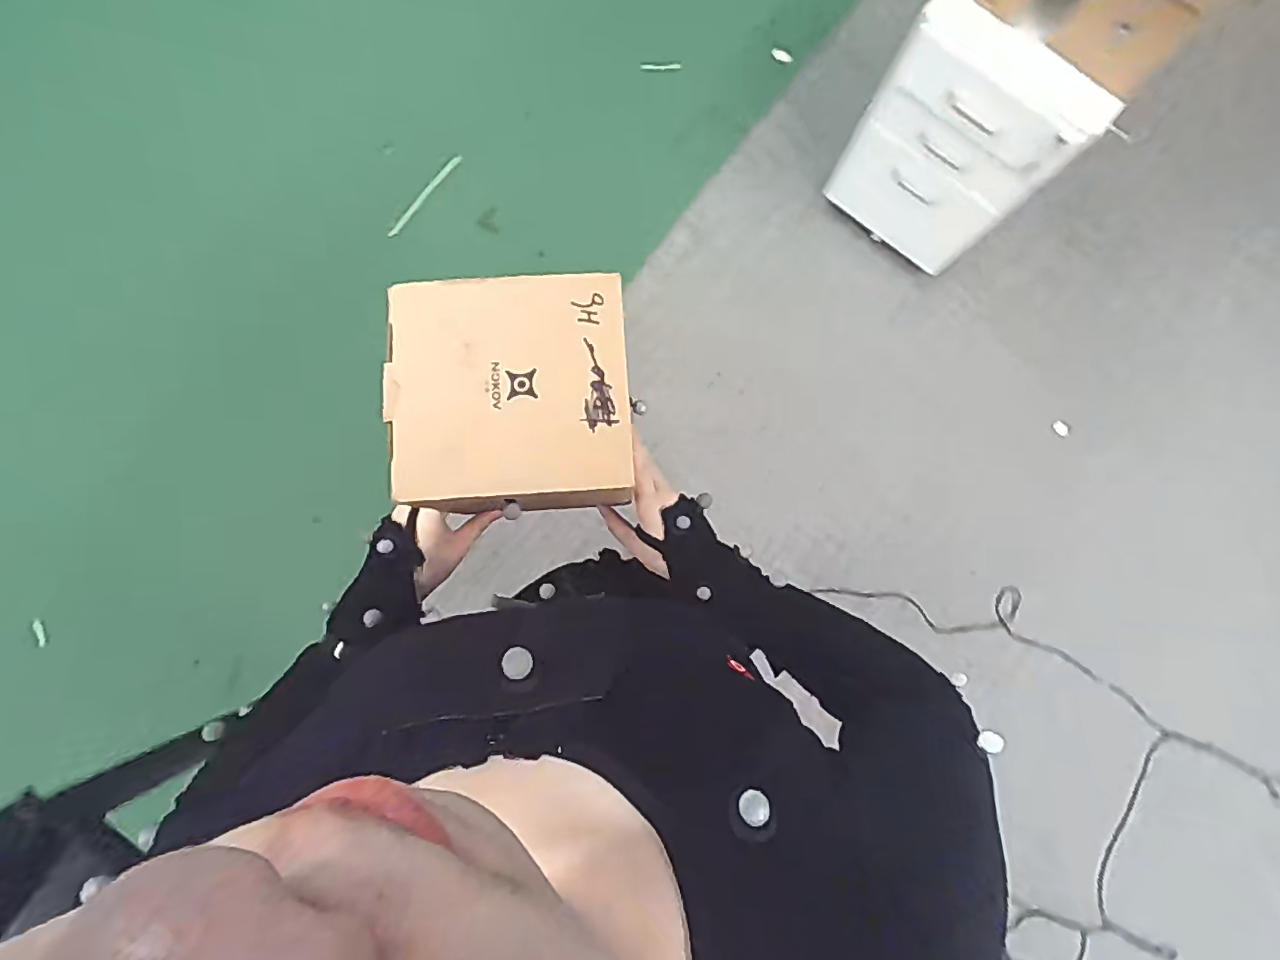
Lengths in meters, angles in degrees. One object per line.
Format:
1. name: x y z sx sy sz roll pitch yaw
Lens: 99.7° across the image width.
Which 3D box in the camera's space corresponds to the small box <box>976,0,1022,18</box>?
1. small box: 0.676 -0.982 0.948 0.168 0.176 0.179 39 85 1
